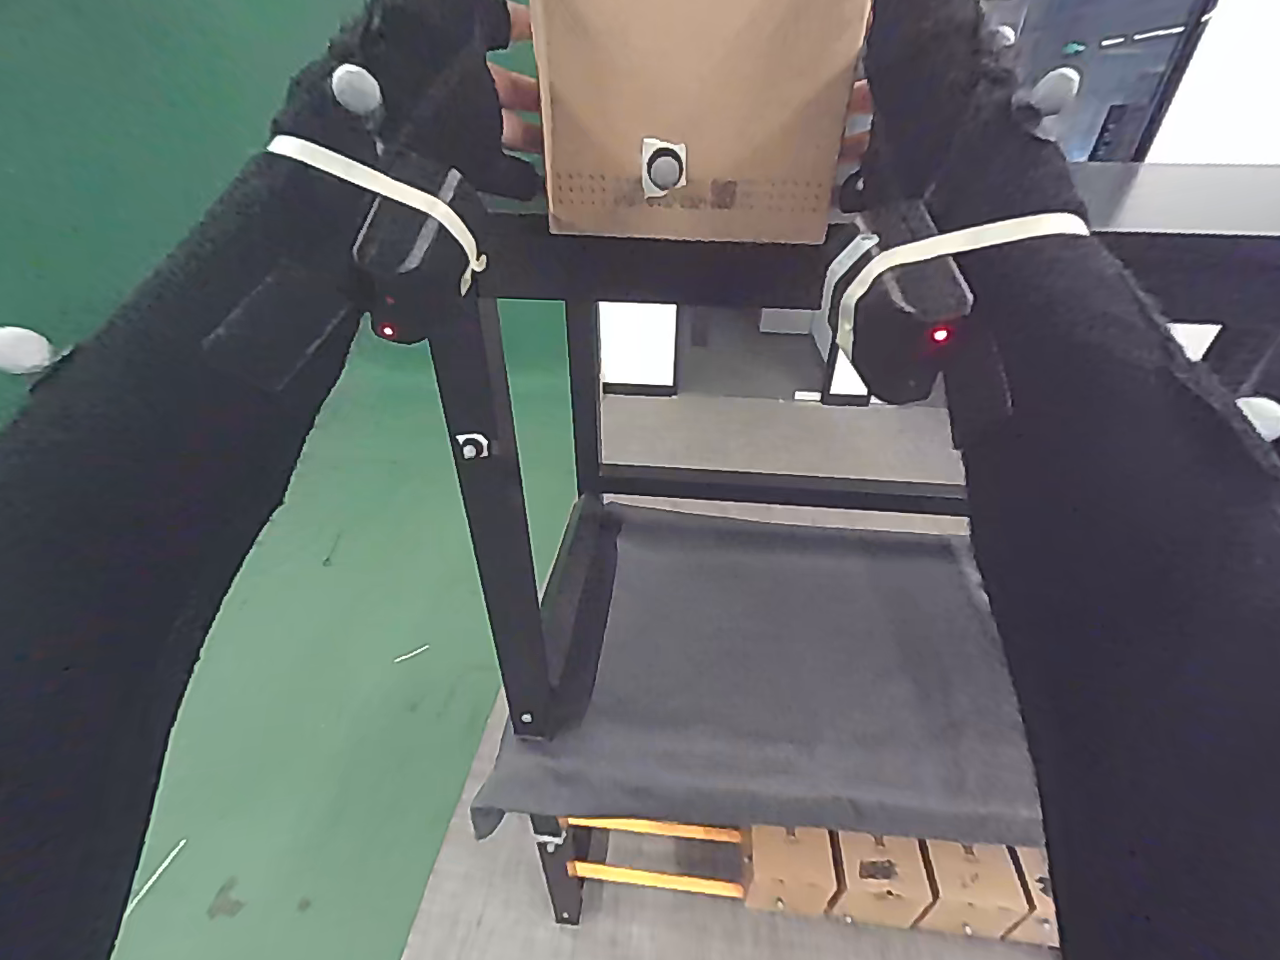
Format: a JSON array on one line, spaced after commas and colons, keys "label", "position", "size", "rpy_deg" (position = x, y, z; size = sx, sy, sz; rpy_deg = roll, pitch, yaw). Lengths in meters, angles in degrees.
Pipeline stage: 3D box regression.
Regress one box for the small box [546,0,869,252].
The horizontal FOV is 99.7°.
[{"label": "small box", "position": [0.037, -0.258, 0.351], "size": [0.168, 0.176, 0.179], "rpy_deg": [2, 35, 4]}]
